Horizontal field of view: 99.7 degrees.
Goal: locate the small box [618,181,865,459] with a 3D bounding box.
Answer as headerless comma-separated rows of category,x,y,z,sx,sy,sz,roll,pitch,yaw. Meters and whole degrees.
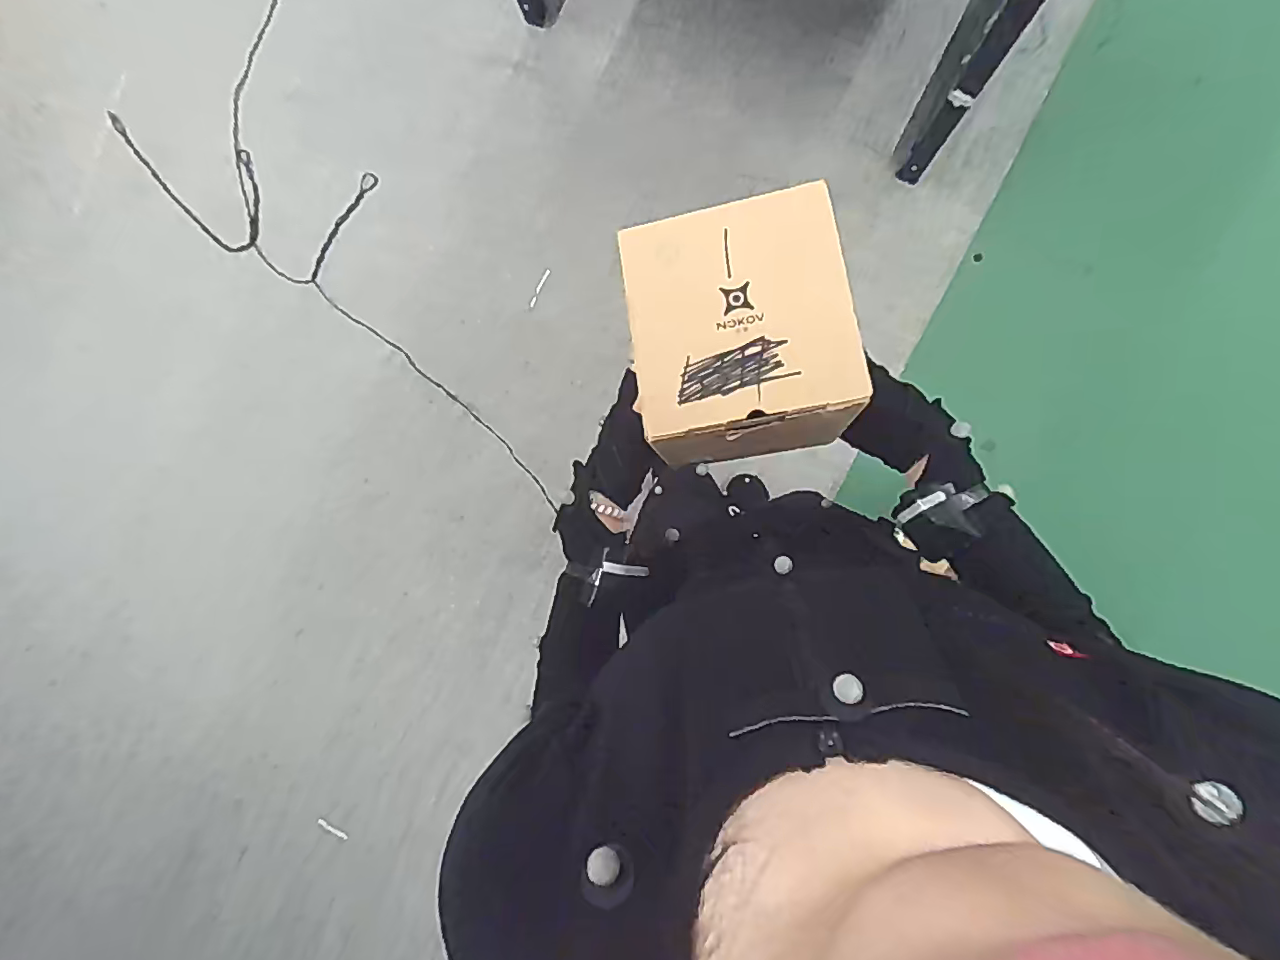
small box,0.086,-0.120,0.486,0.168,0.176,0.179,-9,81,8
